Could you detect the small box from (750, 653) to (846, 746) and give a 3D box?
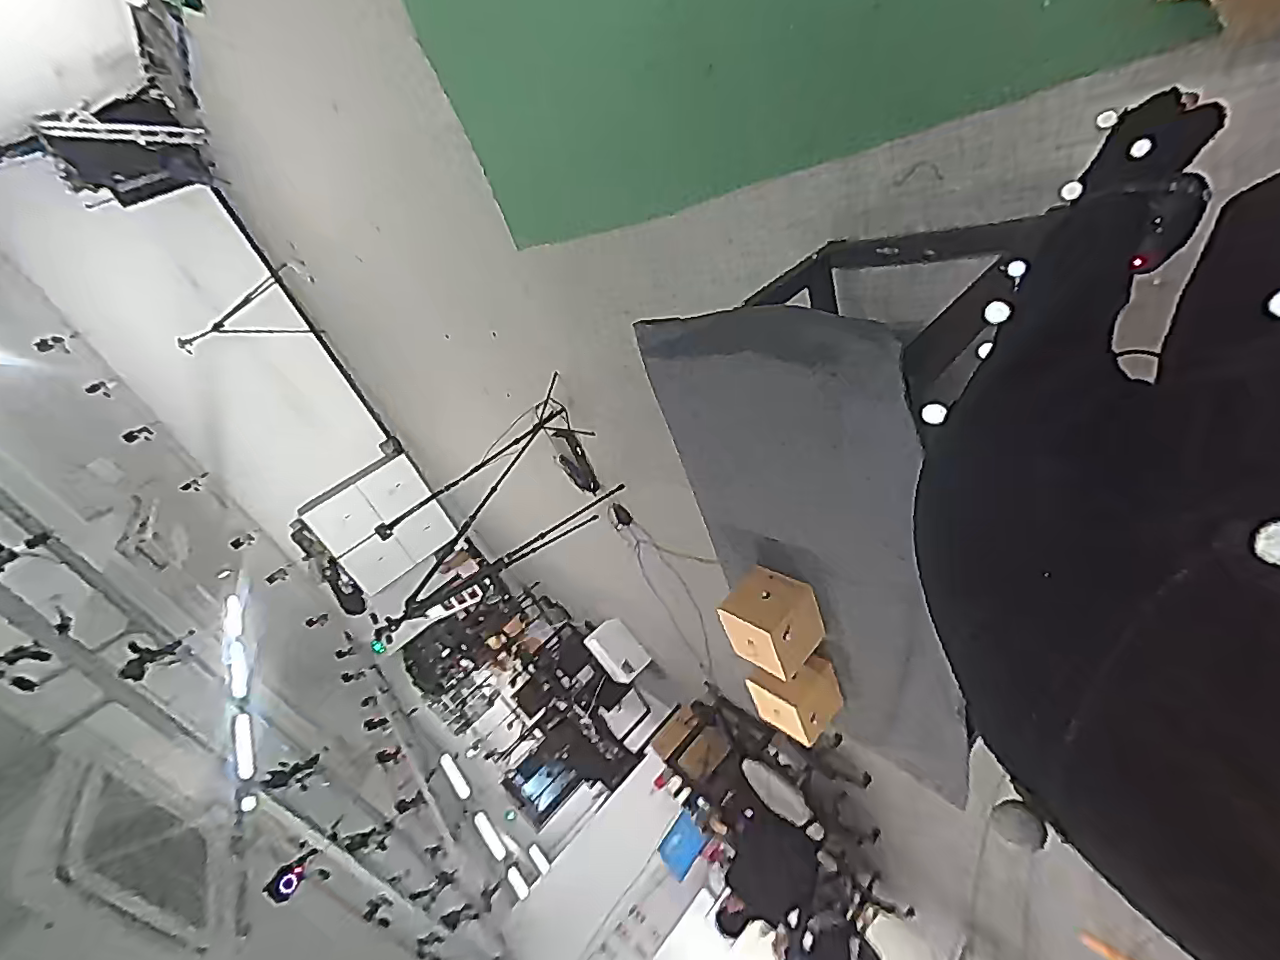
[{"bbox_3d":[0.433,0.569,1.472,0.168,0.176,0.179,15,138,51],"label":"small box"}]

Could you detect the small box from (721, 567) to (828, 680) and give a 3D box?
[{"bbox_3d":[0.334,0.343,1.326,0.168,0.176,0.179,16,138,51],"label":"small box"}]
